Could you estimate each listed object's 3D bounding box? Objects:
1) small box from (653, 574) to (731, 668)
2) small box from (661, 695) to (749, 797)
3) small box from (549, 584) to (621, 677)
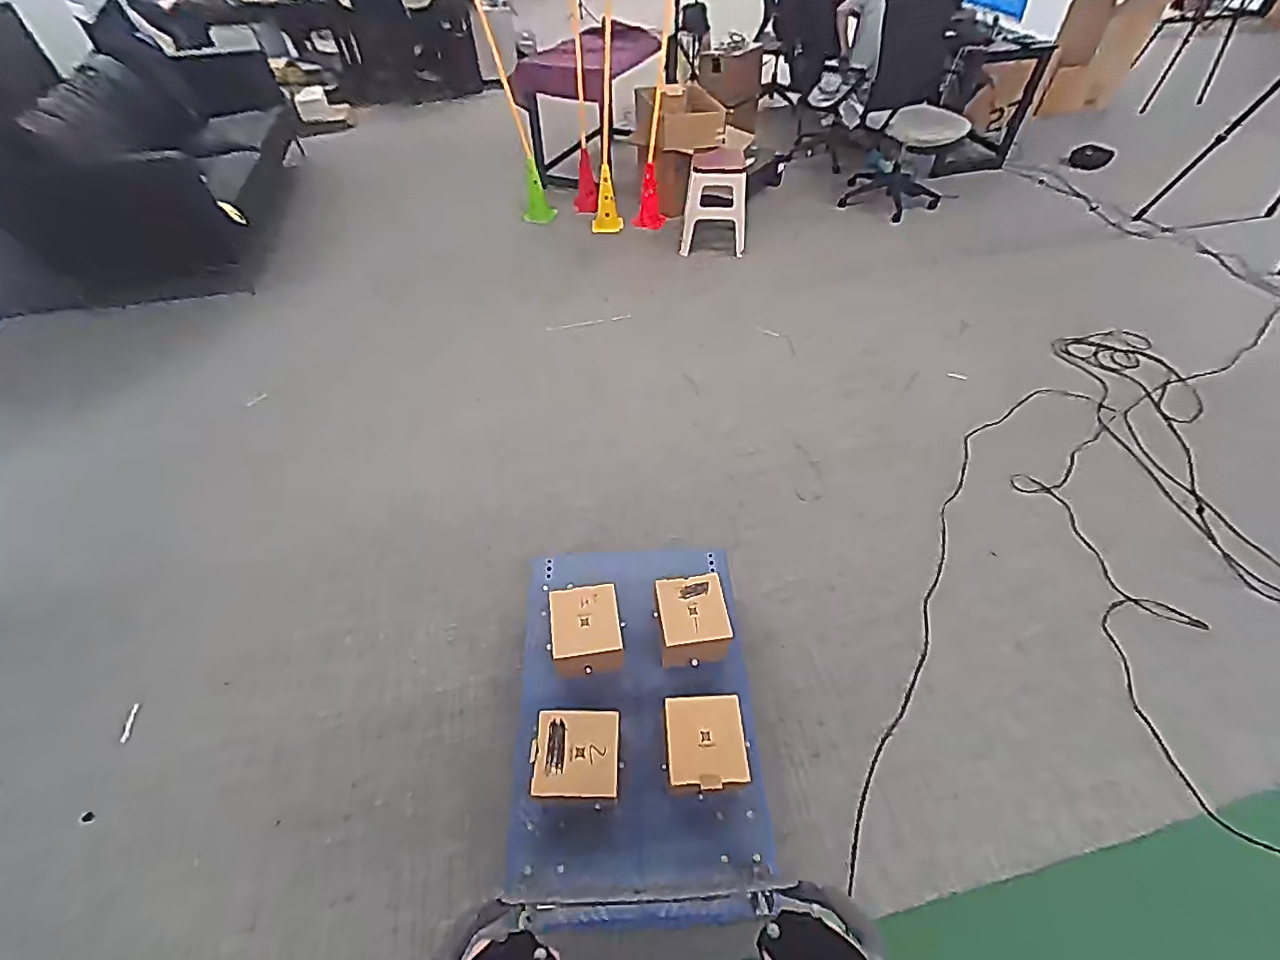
[{"bbox_3d":[0.126,0.365,1.399,0.168,0.176,0.179,-6,54,-5],"label":"small box"},{"bbox_3d":[0.138,0.600,1.218,0.168,0.176,0.179,-2,53,-3],"label":"small box"},{"bbox_3d":[-0.139,0.388,1.375,0.168,0.176,0.179,-6,52,-7],"label":"small box"}]
